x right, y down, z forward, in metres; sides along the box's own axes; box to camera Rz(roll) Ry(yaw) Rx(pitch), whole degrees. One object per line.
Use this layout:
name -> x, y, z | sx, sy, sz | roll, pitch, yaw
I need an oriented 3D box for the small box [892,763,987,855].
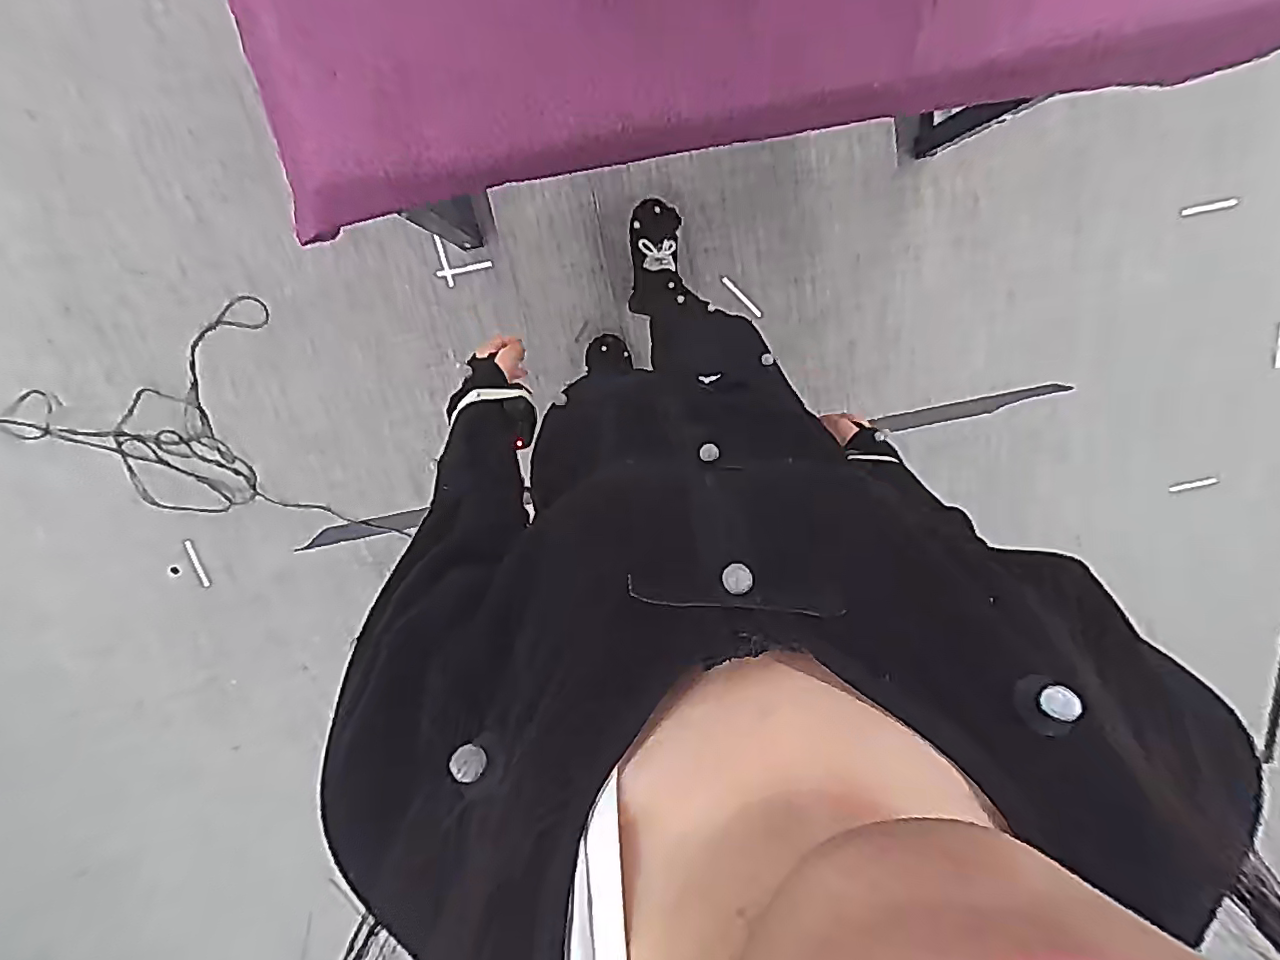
small box -> 0.985, 1.083, 1.792 | 0.179, 0.176, 0.168 | 36, 99, -14
